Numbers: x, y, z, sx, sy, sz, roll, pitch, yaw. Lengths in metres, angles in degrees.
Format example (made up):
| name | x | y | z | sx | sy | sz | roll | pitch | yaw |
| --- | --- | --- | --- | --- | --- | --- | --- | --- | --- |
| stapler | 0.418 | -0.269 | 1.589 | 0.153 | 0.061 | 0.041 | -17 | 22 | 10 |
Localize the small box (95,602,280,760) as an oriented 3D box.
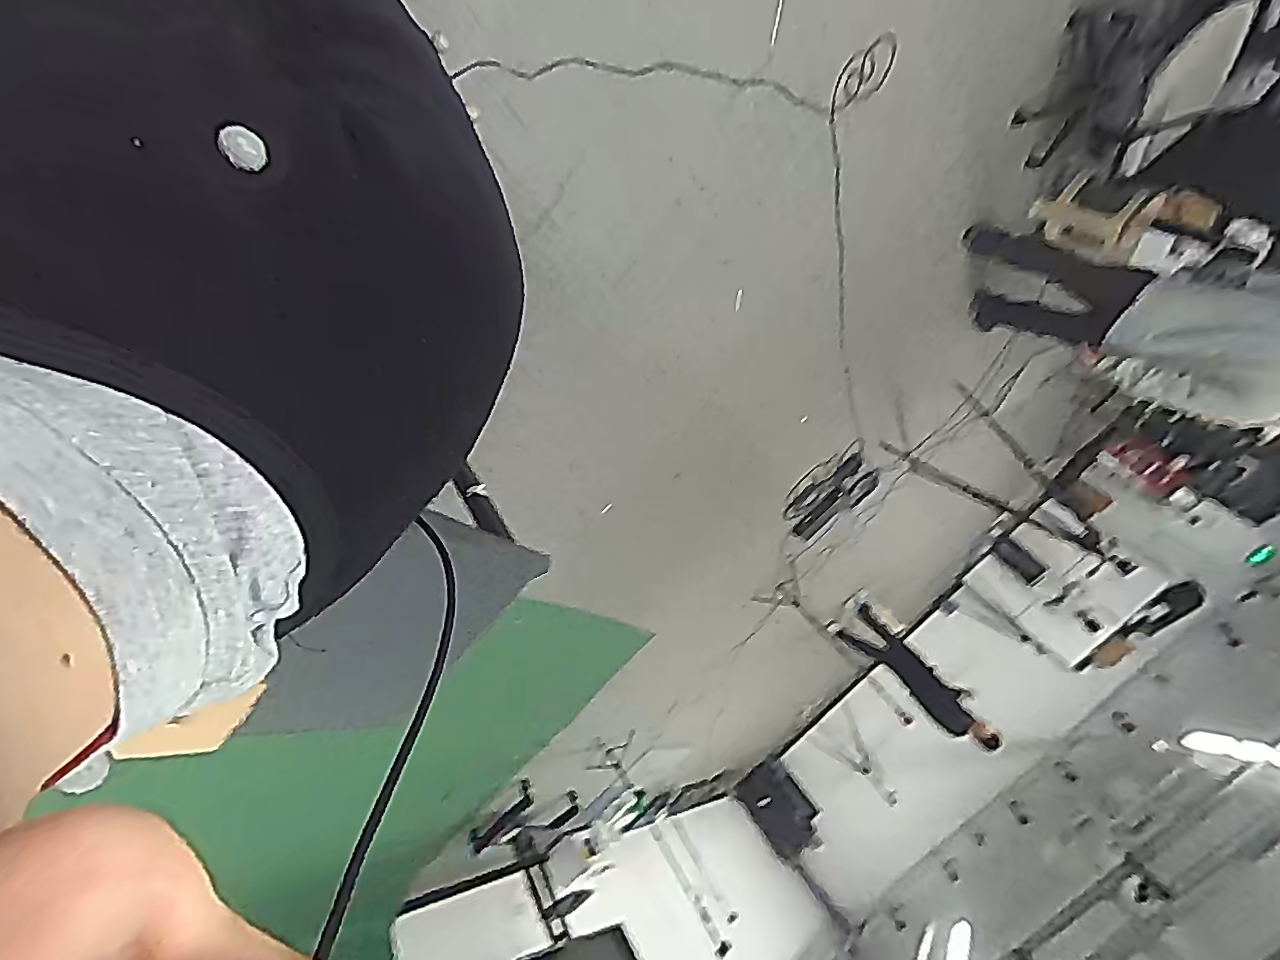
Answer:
| name | x | y | z | sx | sy | sz | roll | pitch | yaw |
| --- | --- | --- | --- | --- | --- | --- | --- | --- | --- |
| small box | -0.730 | 0.320 | 0.881 | 0.168 | 0.176 | 0.179 | -50 | 141 | 9 |
